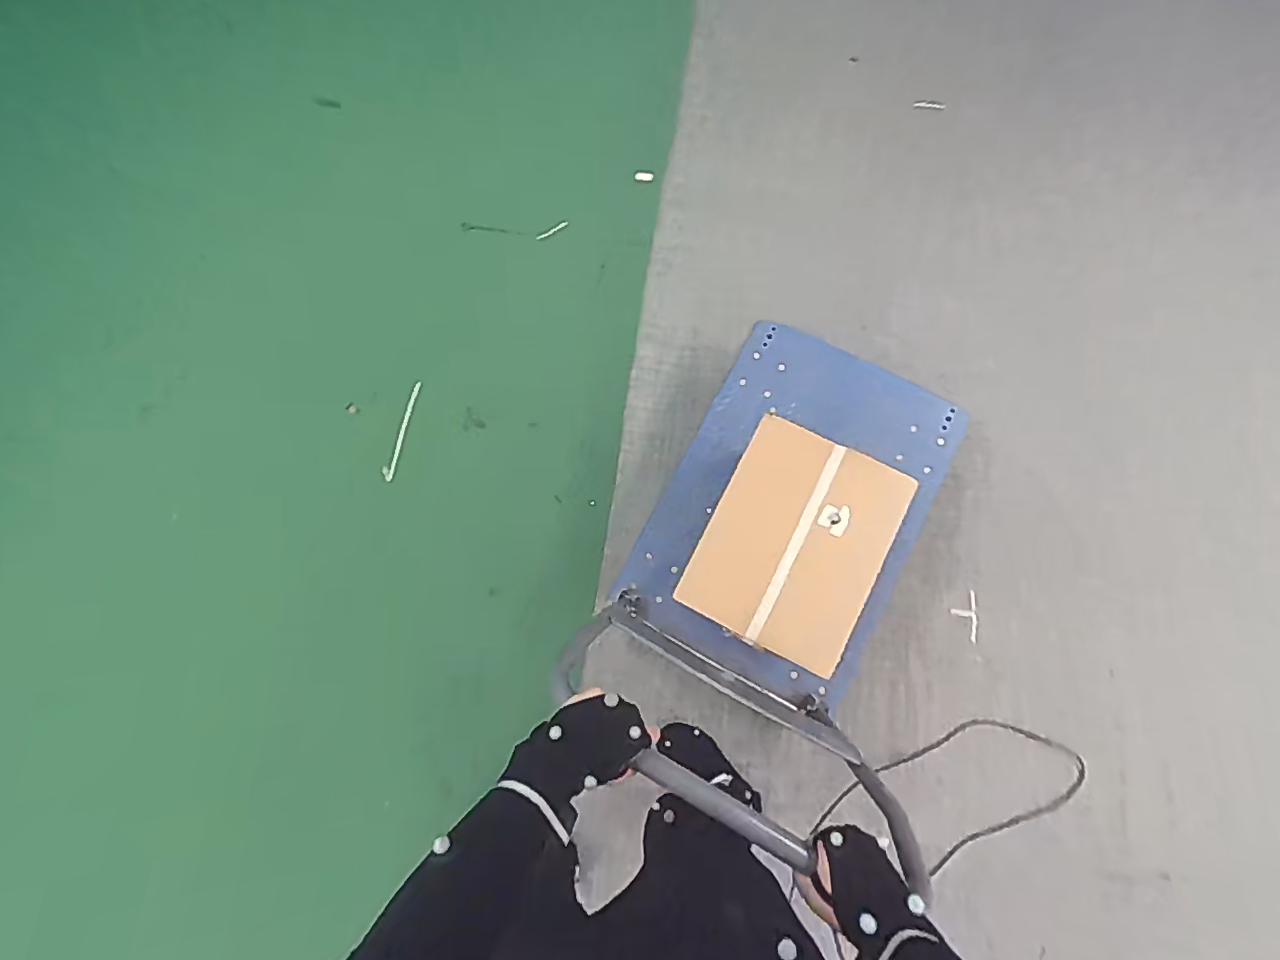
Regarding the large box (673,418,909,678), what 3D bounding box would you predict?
[{"bbox_3d":[0.294,0.145,1.152,0.320,0.320,0.408,27,82,8],"label":"large box"}]
